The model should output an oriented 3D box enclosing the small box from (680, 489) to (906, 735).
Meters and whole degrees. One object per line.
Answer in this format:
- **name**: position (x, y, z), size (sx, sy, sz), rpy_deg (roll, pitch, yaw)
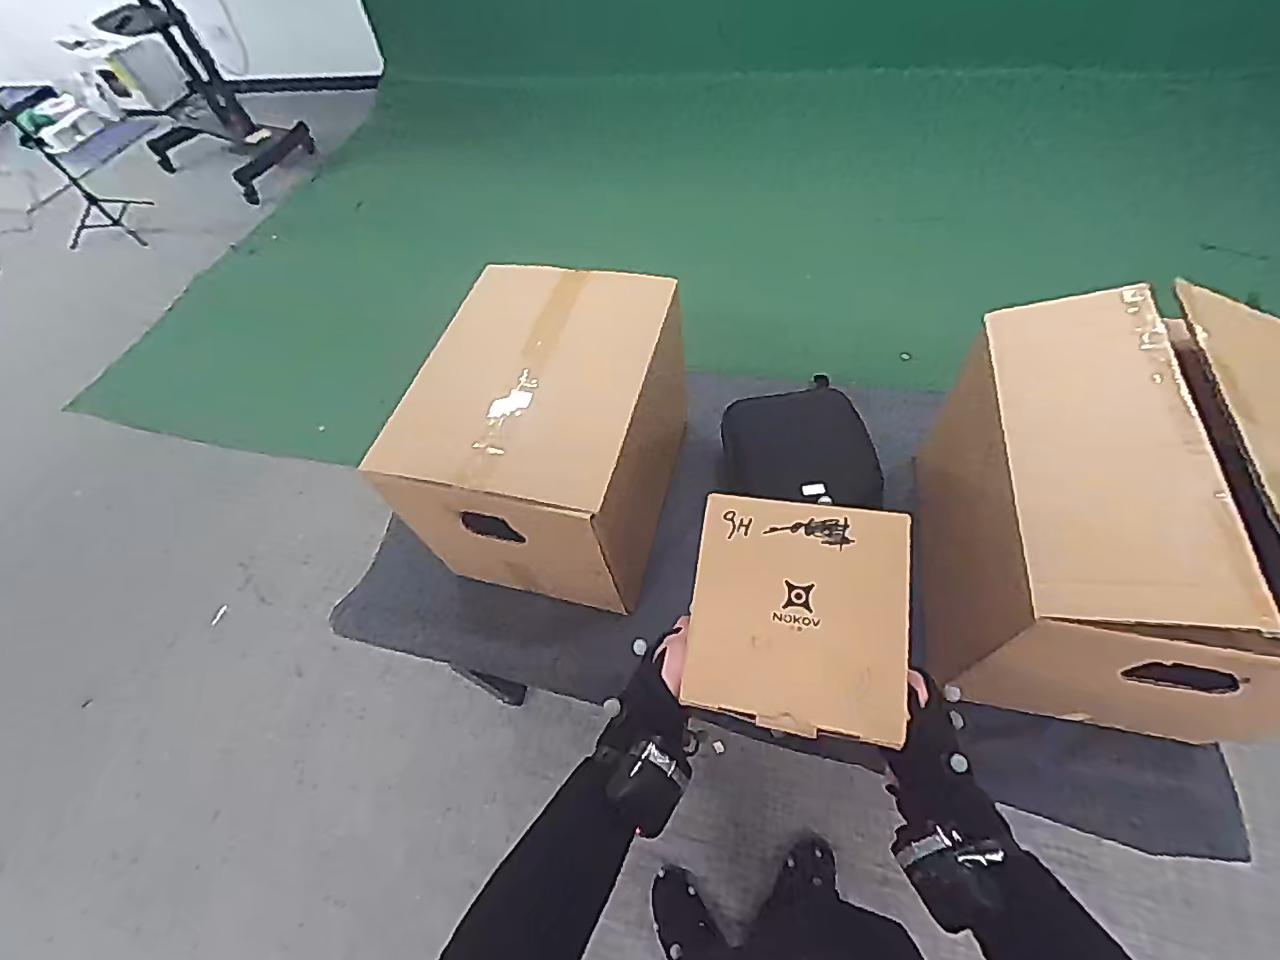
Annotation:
- **small box**: position (0.140, 0.123, 0.513), size (0.168, 0.176, 0.179), rpy_deg (6, 72, 13)
